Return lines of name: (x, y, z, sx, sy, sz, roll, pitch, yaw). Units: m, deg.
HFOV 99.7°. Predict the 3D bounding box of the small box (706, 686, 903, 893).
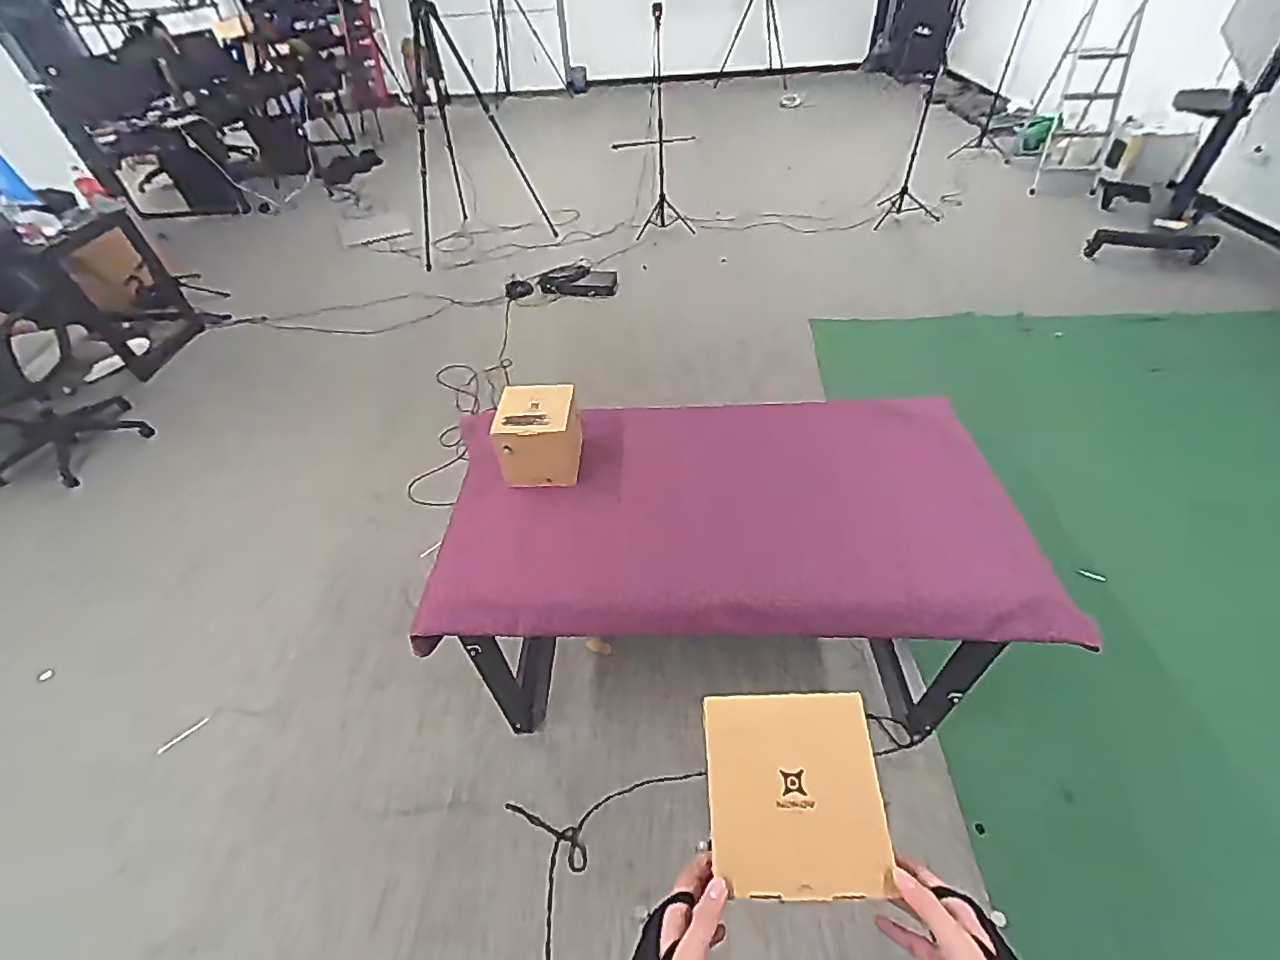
small box: (0.161, 0.336, 0.596, 0.168, 0.176, 0.179, -3, 59, 5)
